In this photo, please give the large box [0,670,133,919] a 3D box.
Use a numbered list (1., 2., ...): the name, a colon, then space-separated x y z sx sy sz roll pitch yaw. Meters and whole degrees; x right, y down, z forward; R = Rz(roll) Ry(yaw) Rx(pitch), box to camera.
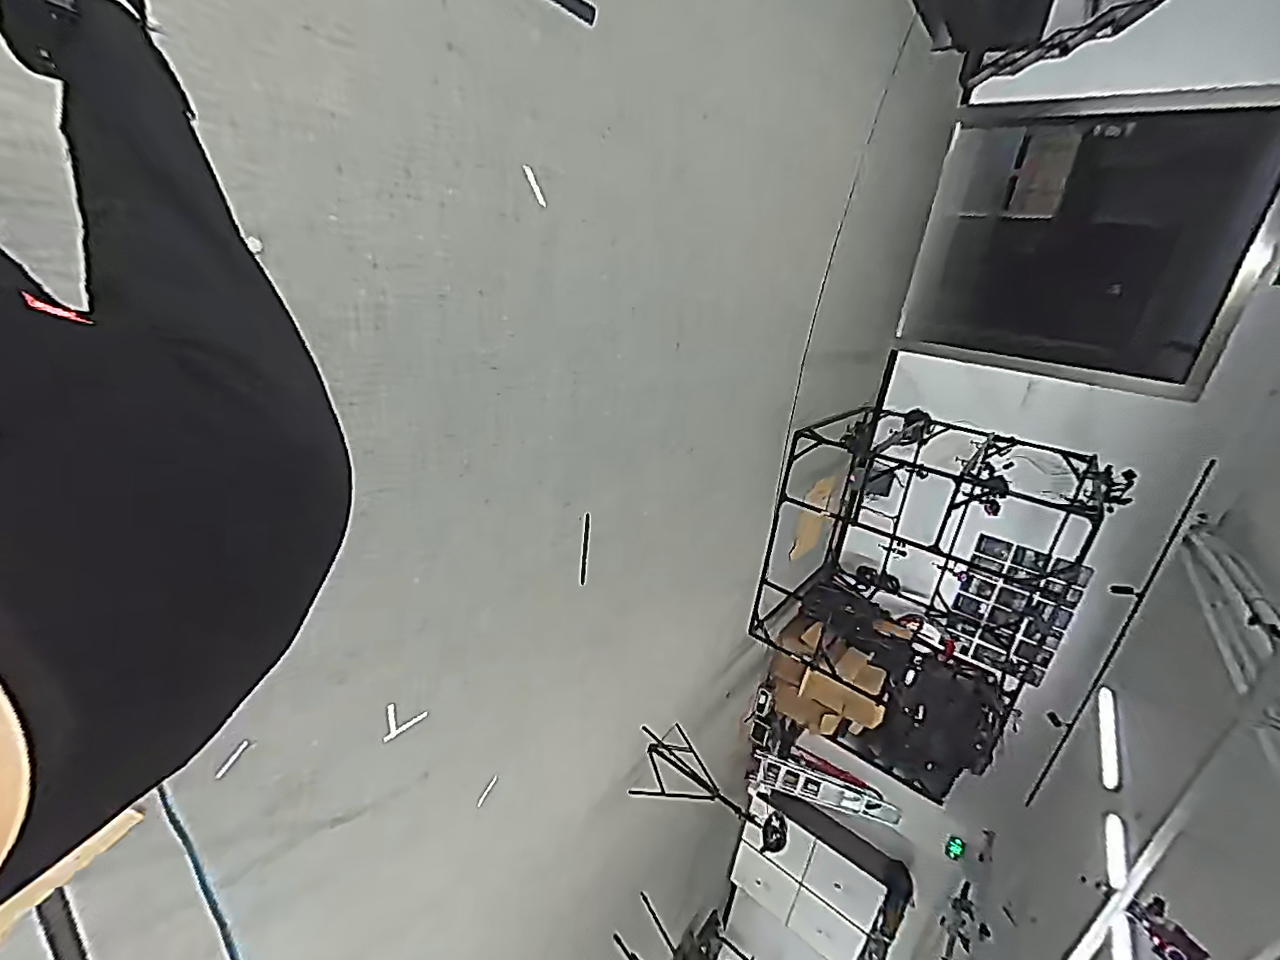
1. large box: -1.300 0.632 0.994 0.408 0.320 0.320 -43 139 -33
